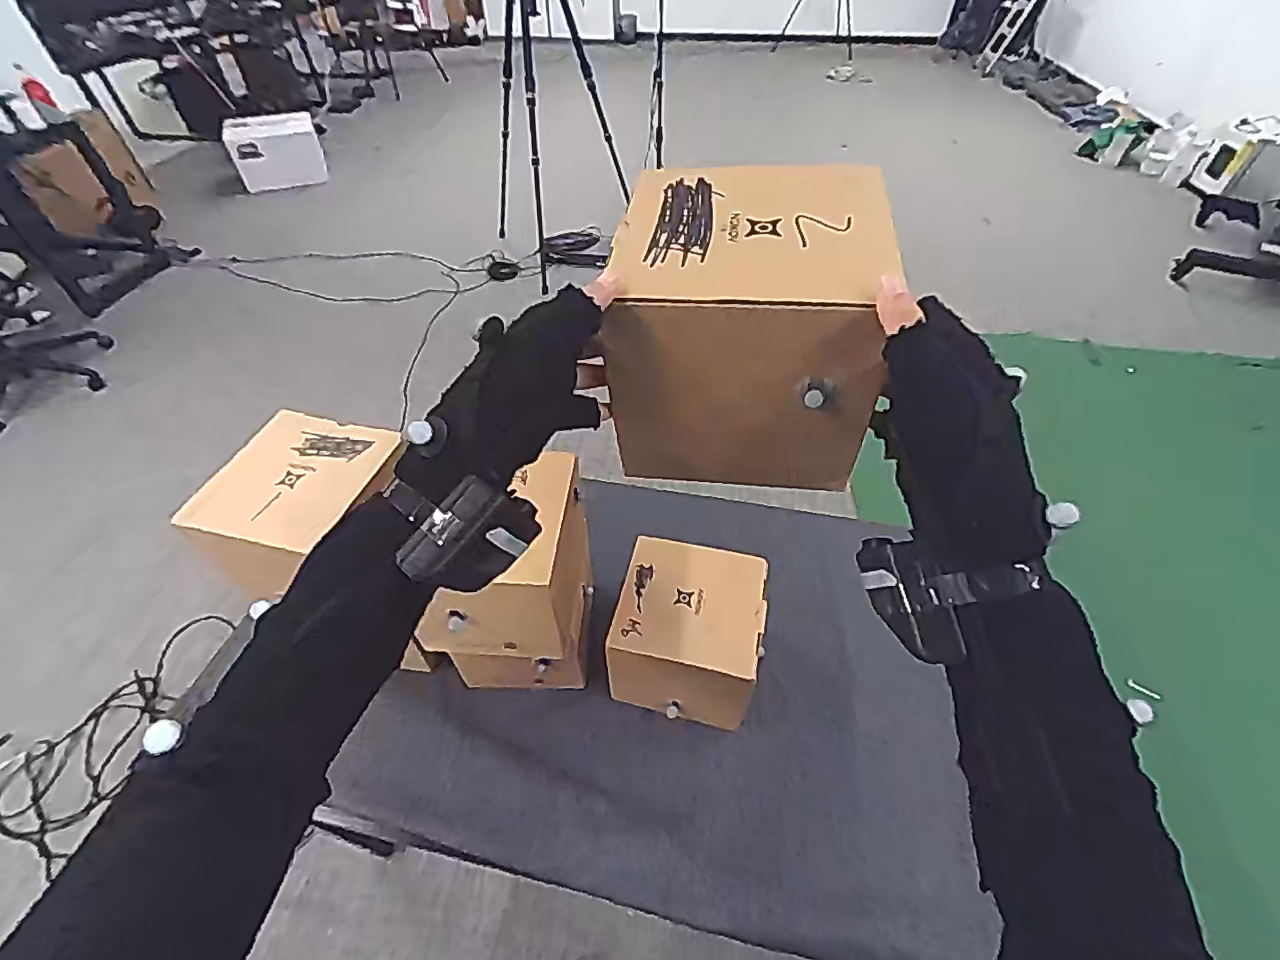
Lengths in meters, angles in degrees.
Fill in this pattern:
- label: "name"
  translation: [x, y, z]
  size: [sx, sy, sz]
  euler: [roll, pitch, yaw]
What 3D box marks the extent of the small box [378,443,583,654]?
- label: "small box"
  translation: [-0.159, 0.080, 0.613]
  size: [0.168, 0.176, 0.179]
  euler: [3, 47, 2]
